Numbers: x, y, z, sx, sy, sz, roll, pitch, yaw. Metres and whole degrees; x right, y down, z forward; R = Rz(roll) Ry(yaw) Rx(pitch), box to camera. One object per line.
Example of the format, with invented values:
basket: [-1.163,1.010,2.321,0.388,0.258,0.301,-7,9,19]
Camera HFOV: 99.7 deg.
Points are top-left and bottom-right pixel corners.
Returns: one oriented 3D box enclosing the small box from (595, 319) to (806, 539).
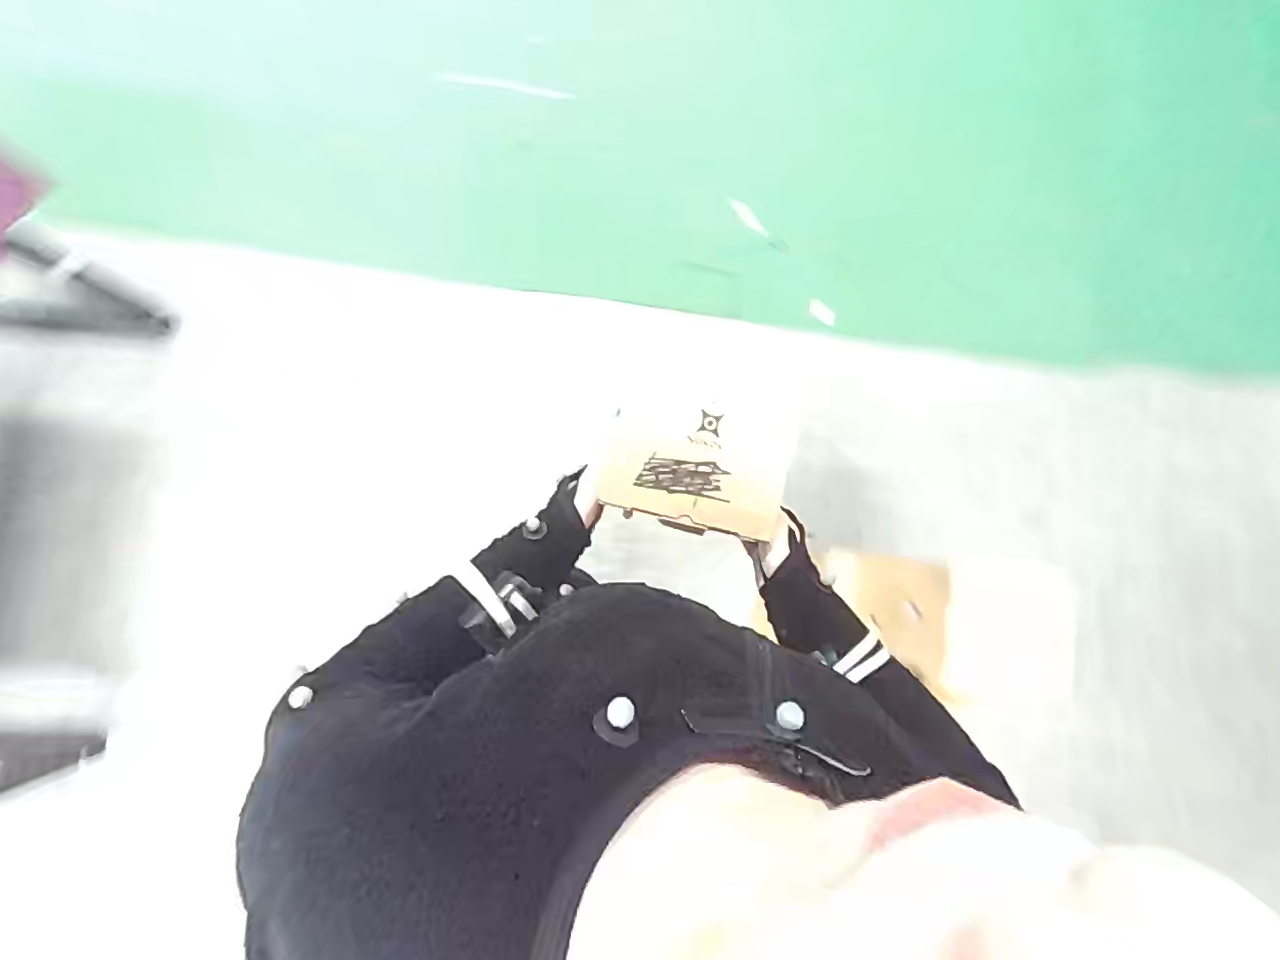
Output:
small box: [0.055,-0.044,0.576,0.168,0.176,0.179,13,87,-1]

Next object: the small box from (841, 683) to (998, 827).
small box: [0.488,0.475,0.963,0.179,0.176,0.168,14,81,-1]

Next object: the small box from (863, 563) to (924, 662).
small box: [0.536,0.249,0.998,0.179,0.176,0.168,9,84,-2]

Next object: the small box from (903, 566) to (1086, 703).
small box: [0.533,0.227,0.835,0.179,0.176,0.168,8,85,-1]
